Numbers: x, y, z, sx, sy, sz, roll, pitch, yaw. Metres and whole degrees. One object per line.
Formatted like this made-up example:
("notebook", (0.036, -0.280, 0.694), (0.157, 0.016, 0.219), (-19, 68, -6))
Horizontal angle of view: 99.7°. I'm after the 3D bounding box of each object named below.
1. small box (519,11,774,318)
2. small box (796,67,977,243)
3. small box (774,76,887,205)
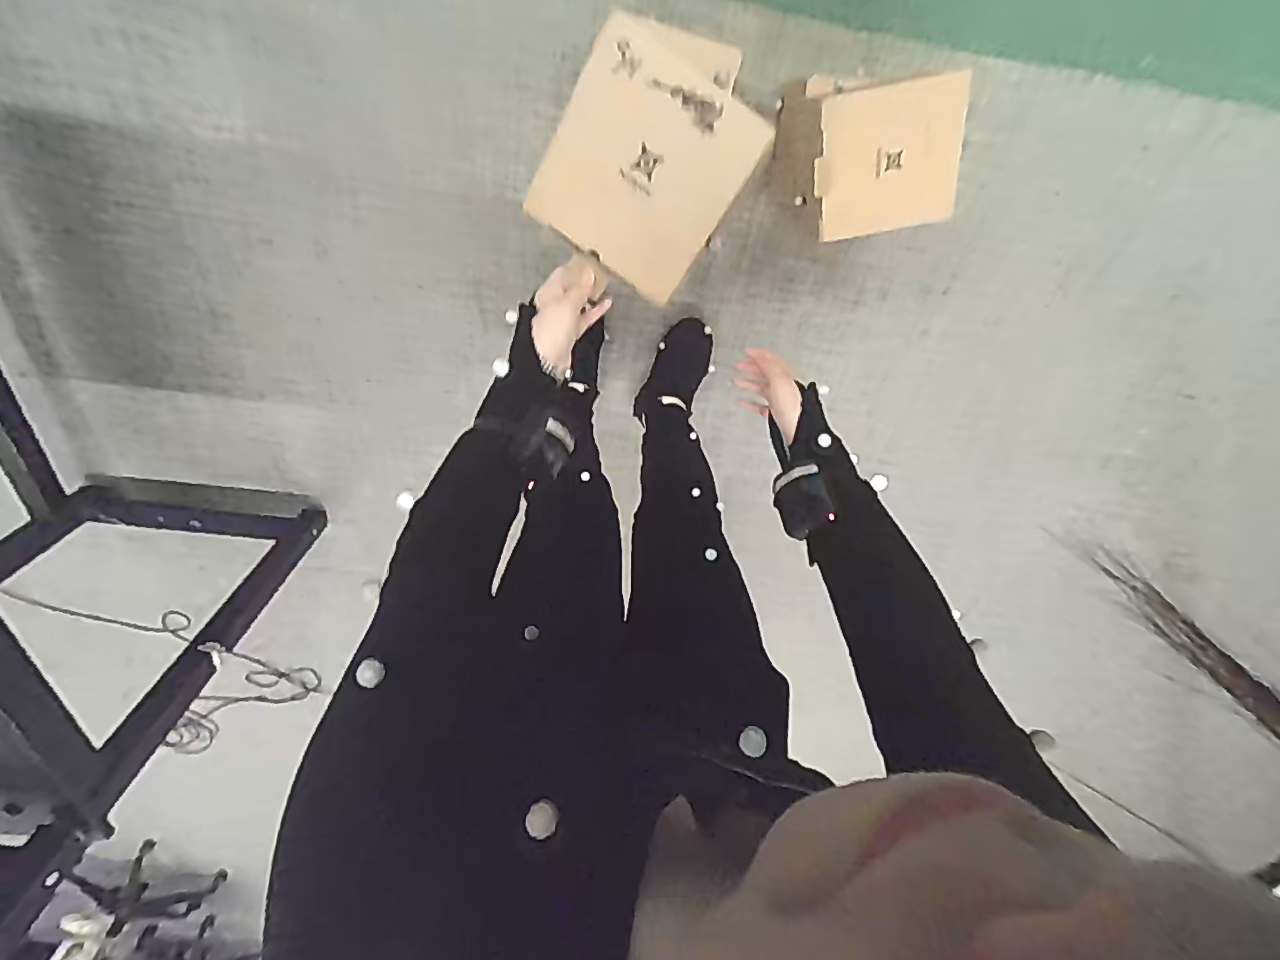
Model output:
("small box", (0.016, -0.291, 0.534), (0.168, 0.176, 0.179), (35, 118, -6))
("small box", (0.315, -0.439, 0.736), (0.179, 0.176, 0.168), (-10, 125, 6))
("small box", (0.324, -0.536, 0.866), (0.179, 0.176, 0.168), (1, 124, -2))
